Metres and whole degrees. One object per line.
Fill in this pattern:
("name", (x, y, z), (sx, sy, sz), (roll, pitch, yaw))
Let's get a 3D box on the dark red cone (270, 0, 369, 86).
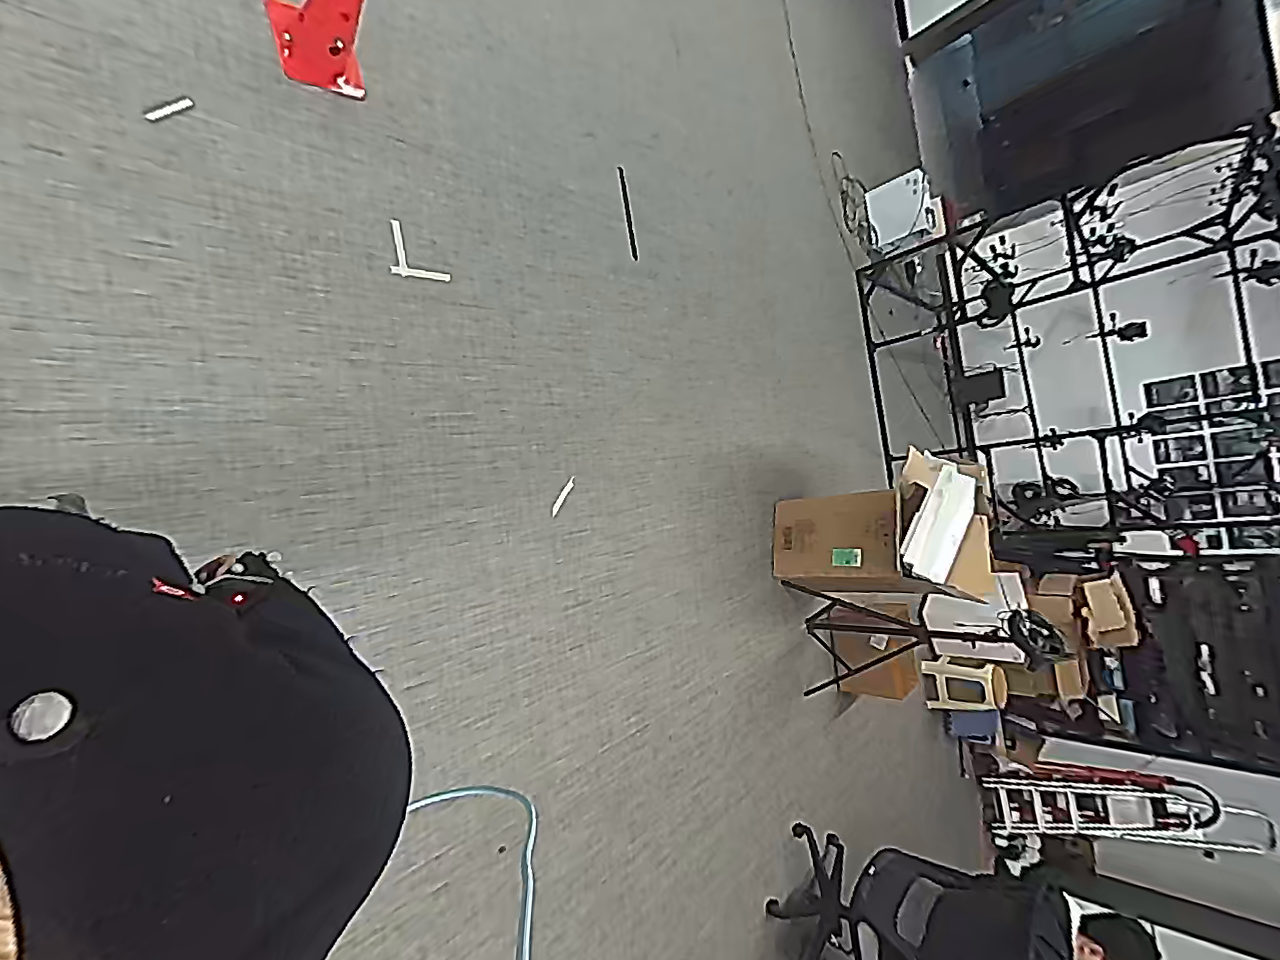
("dark red cone", (-0.690, -1.133, 1.248), (0.201, 0.394, 0.202), (-18, 96, -45))
